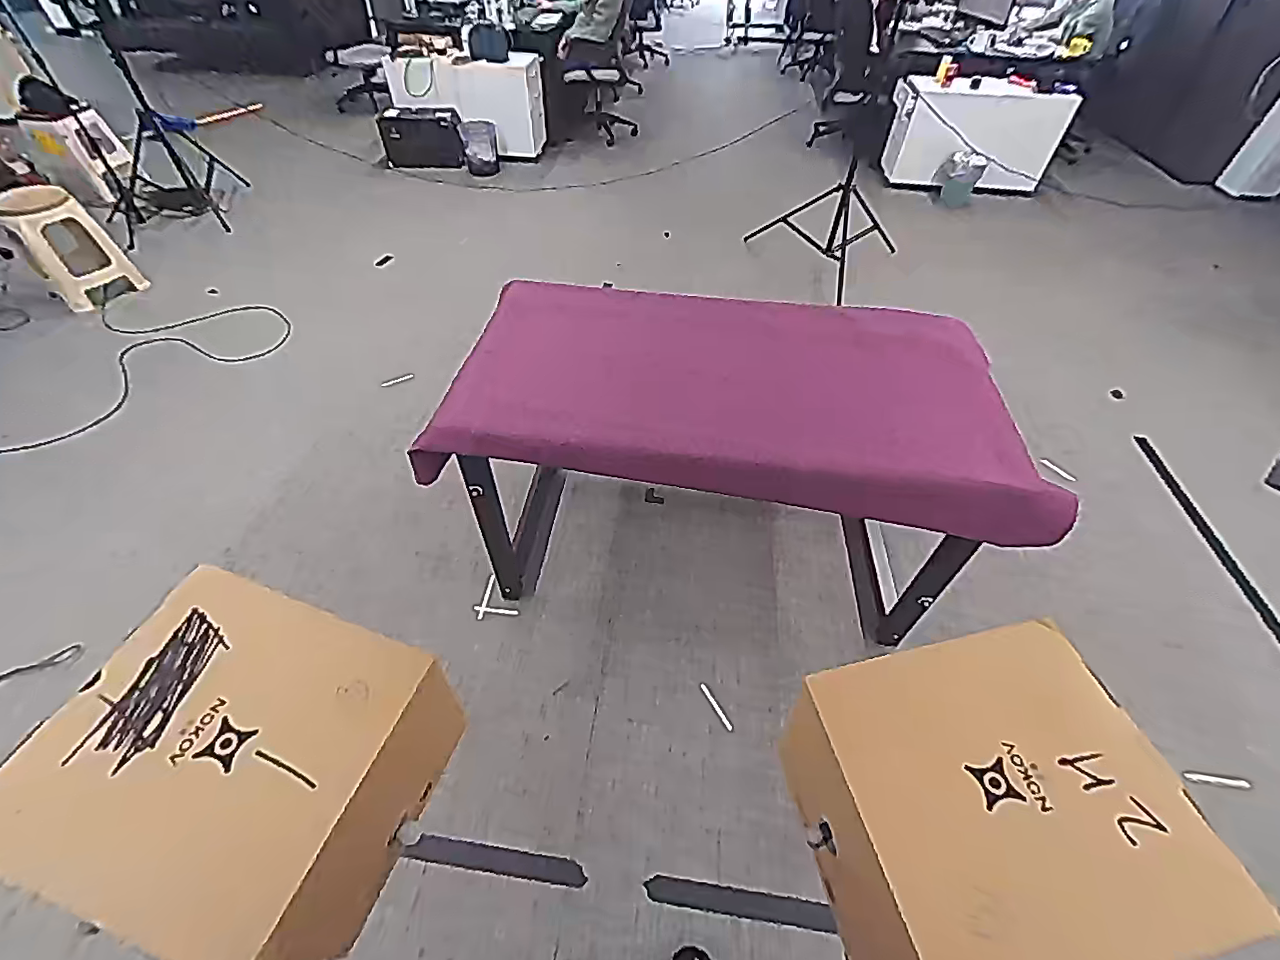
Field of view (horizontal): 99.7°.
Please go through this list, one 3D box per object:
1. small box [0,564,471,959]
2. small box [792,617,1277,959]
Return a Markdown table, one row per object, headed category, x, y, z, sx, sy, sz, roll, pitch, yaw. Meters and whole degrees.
| category | x | y | z | sx | sy | sz | roll | pitch | yaw |
| --- | --- | --- | --- | --- | --- | --- | --- | --- | --- |
| small box | -0.238 | 0.190 | 0.365 | 0.179 | 0.176 | 0.168 | 20 | 53 | 5 |
| small box | 0.215 | 0.220 | 0.365 | 0.179 | 0.176 | 0.168 | -12 | 49 | -4 |
